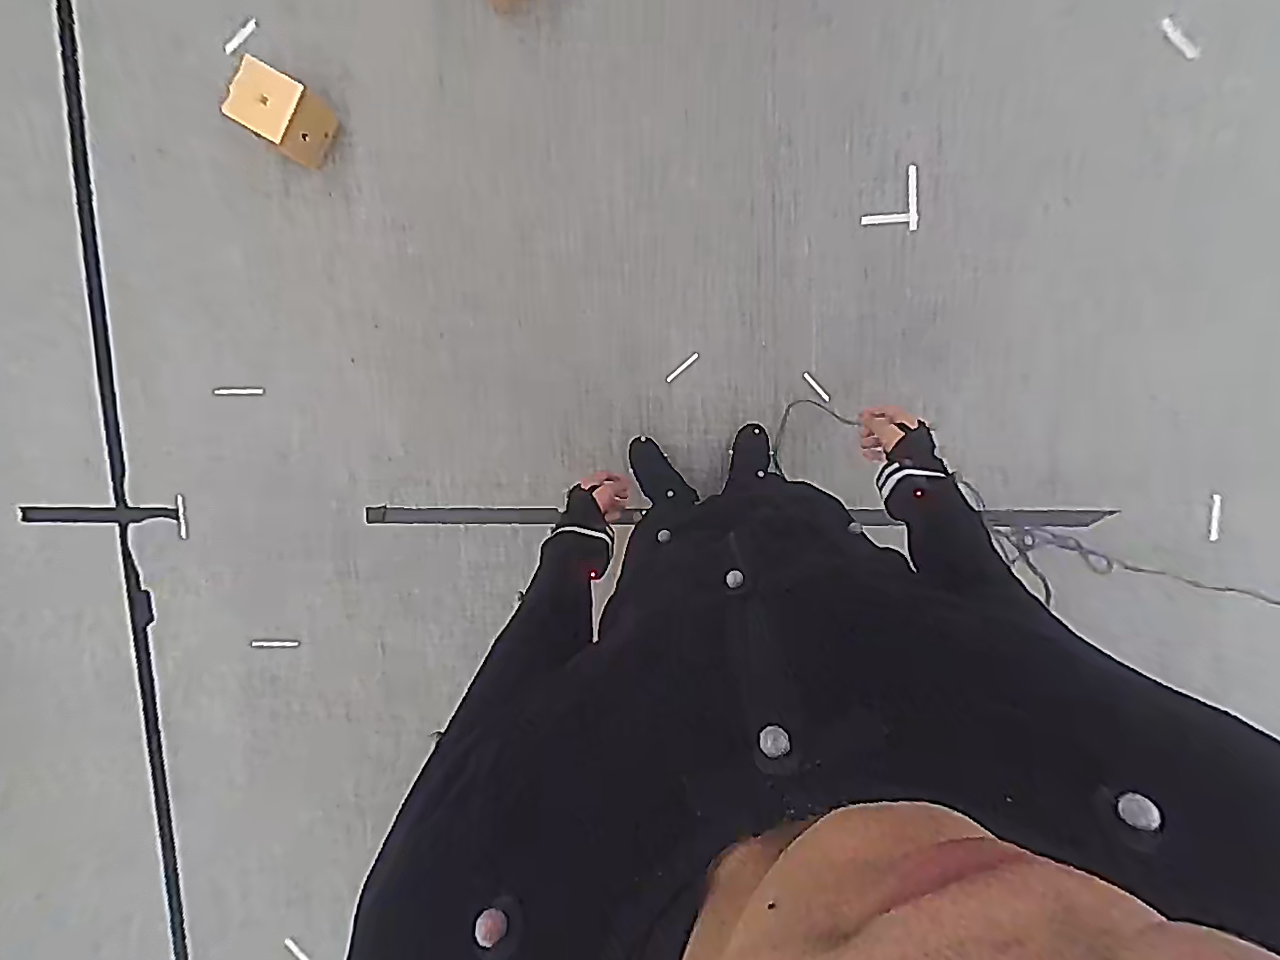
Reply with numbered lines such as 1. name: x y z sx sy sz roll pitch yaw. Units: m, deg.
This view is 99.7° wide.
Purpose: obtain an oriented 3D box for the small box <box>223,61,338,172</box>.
1. small box: -0.984 -0.992 1.497 0.179 0.176 0.168 29 96 0

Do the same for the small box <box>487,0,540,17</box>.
1. small box: -0.369 -1.404 1.436 0.168 0.176 0.179 -20 94 4
